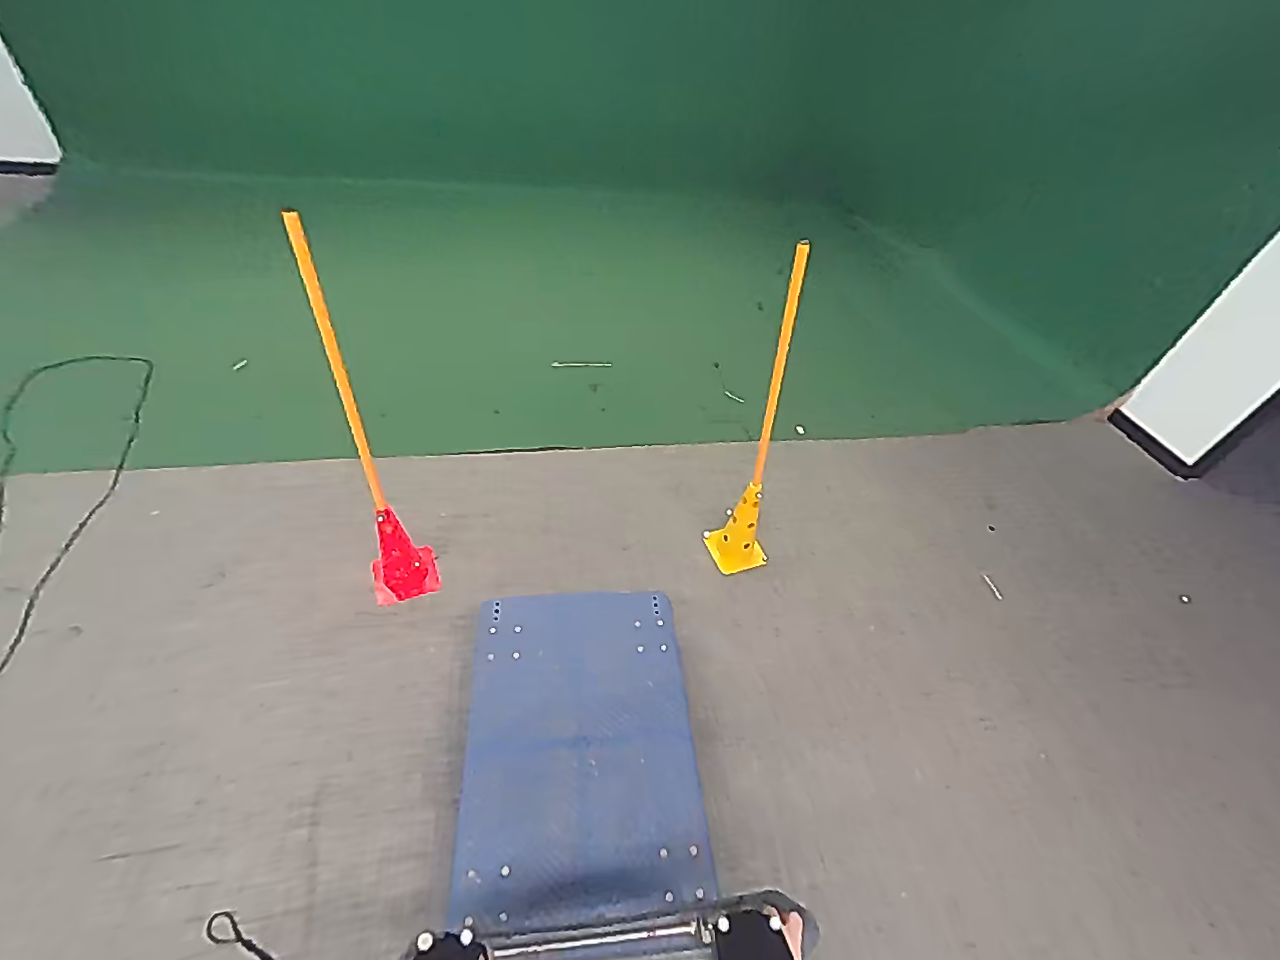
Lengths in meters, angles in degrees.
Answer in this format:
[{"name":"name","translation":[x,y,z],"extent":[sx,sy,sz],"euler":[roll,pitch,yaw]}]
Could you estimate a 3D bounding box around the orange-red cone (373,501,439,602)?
[{"name":"orange-red cone","translation":[-0.784,0.199,1.723],"extent":[0.199,0.360,0.198],"euler":[-15,49,-20]}]
